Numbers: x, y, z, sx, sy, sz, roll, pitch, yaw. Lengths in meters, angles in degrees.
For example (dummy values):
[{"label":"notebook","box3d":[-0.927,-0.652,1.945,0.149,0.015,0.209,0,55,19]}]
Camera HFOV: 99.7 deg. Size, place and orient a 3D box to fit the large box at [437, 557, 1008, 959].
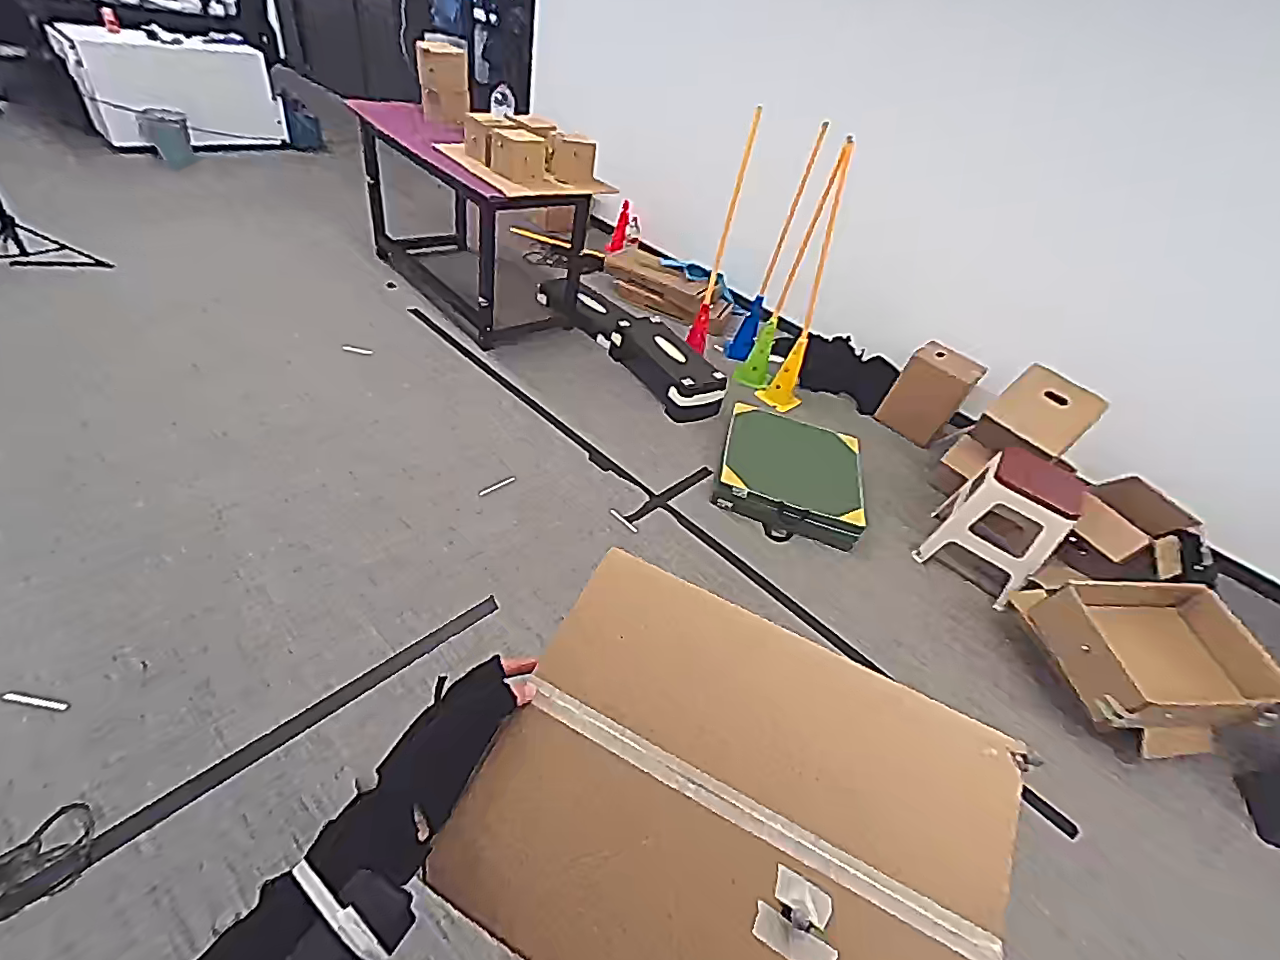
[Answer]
[{"label":"large box","box3d":[0.078,0.348,0.576,0.408,0.320,0.320,24,61,14]}]
